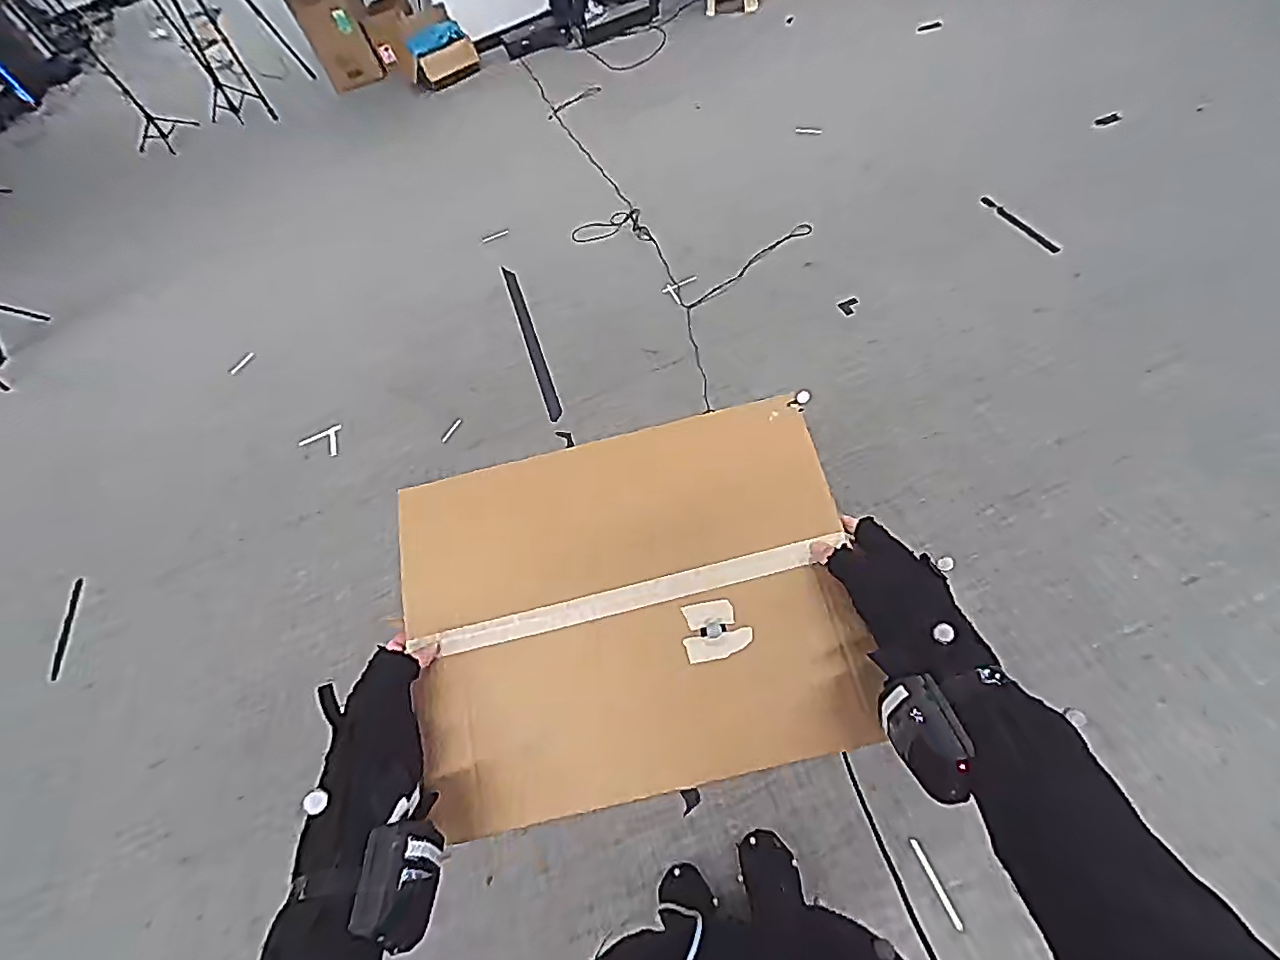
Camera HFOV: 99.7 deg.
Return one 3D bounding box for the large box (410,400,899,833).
[{"bbox_3d":[0.003,0.156,0.637,0.408,0.320,0.320,-14,70,0],"label":"large box"}]
